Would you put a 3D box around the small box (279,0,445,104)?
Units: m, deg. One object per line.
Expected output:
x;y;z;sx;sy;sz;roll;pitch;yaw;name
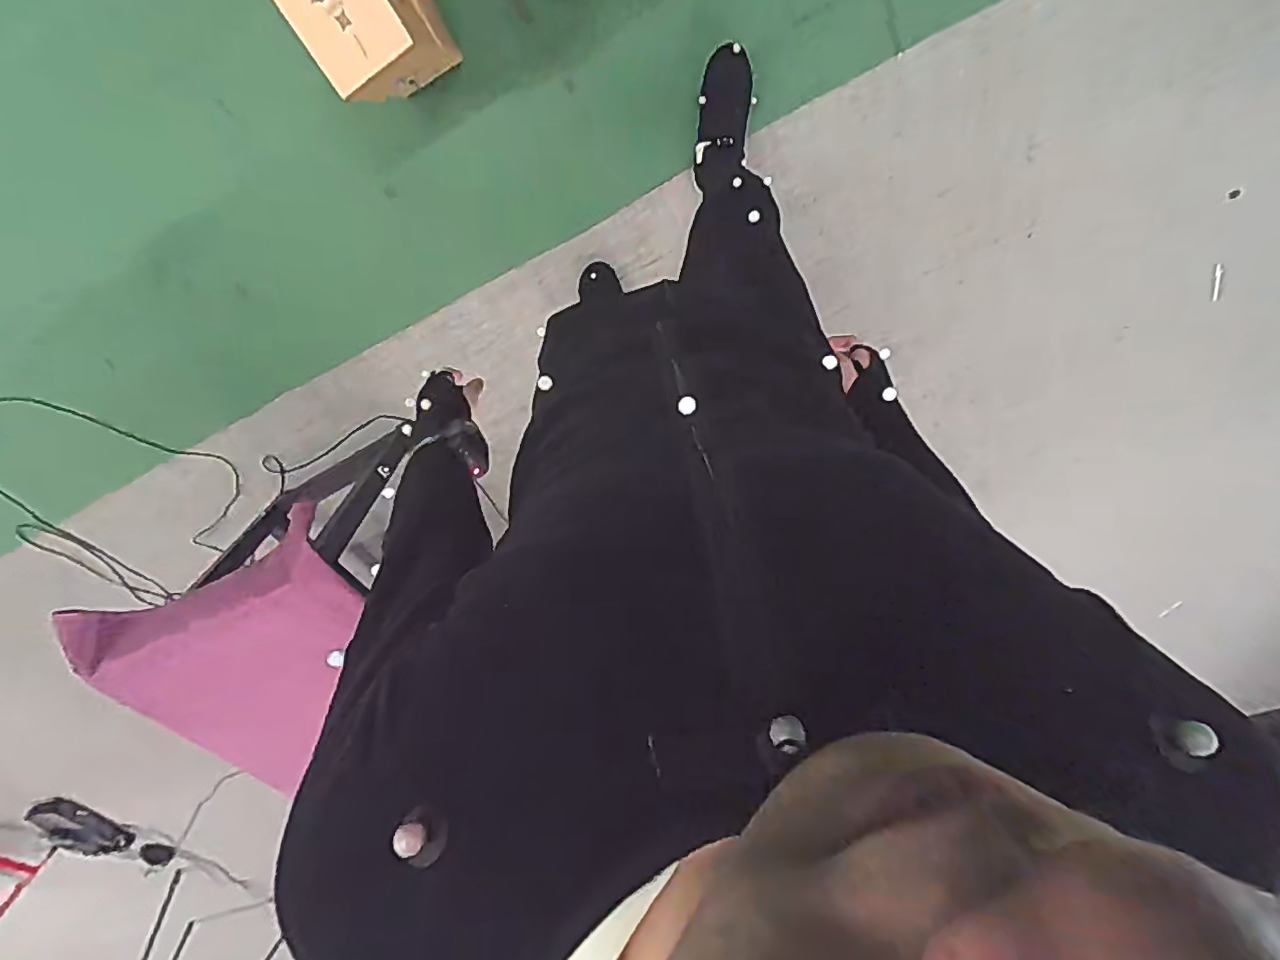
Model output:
-0.482;-0.800;0.957;0.168;0.176;0.179;-24;120;15;small box

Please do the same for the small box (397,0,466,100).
-0.479;-0.898;1.089;0.168;0.176;0.179;-22;120;13;small box
